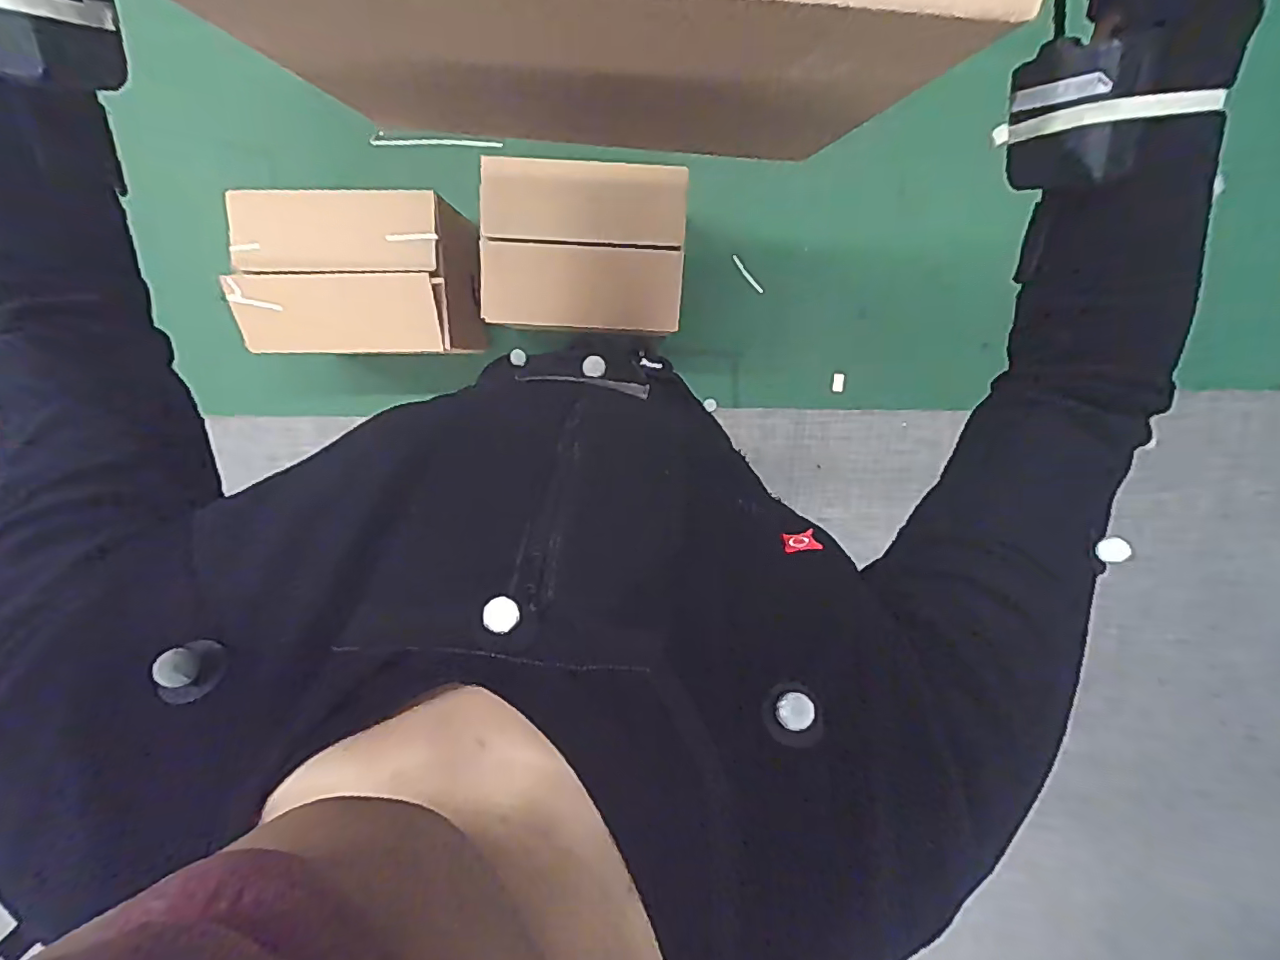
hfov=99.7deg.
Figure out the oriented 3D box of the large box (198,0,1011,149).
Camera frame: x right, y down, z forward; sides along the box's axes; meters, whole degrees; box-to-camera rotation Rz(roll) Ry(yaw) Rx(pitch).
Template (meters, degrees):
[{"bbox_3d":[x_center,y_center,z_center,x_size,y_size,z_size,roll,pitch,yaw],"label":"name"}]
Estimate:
[{"bbox_3d":[-0.031,-0.408,0.312,0.408,0.320,0.320,2,111,-4],"label":"large box"}]
